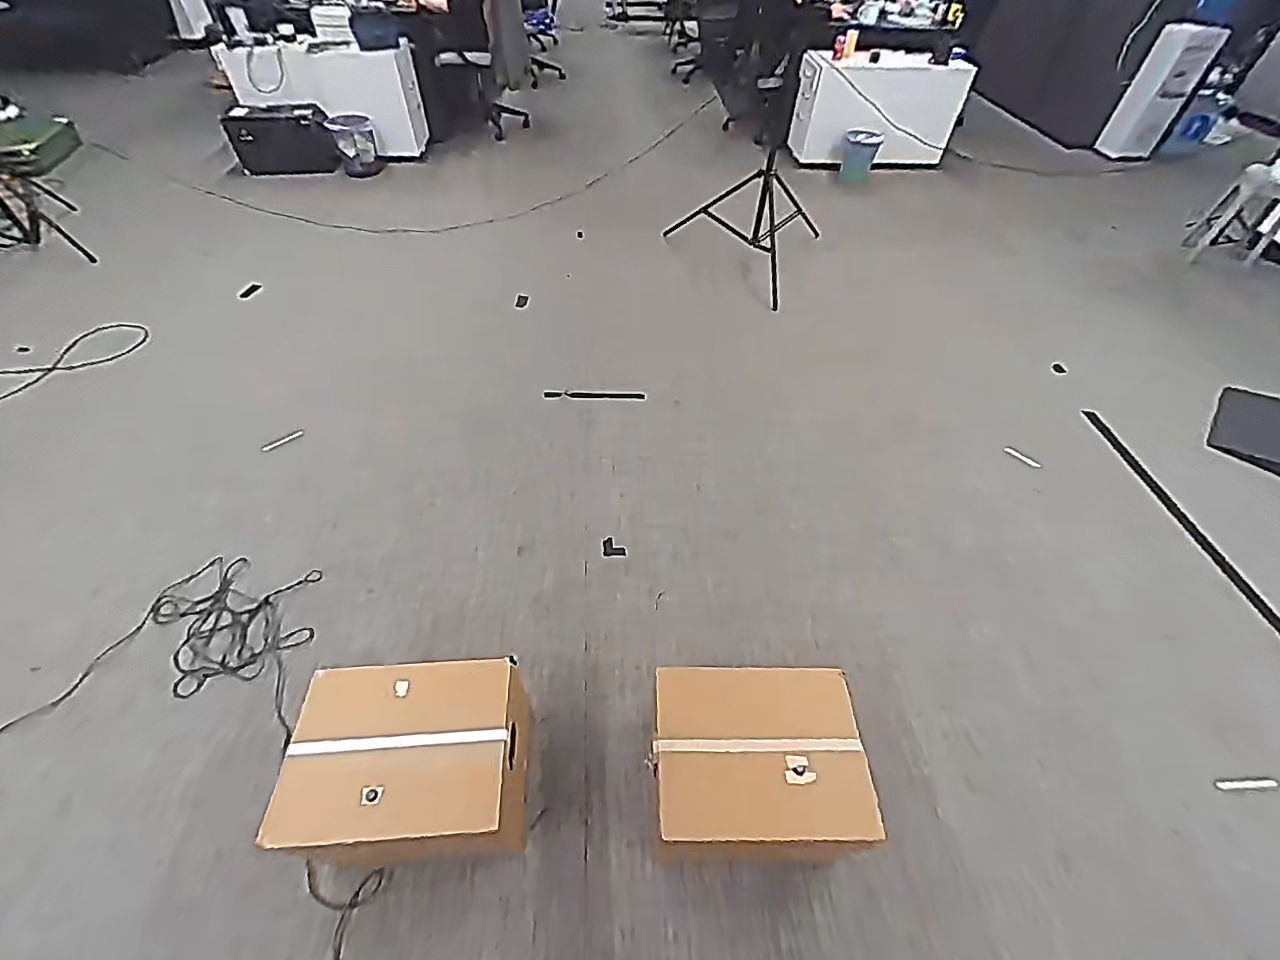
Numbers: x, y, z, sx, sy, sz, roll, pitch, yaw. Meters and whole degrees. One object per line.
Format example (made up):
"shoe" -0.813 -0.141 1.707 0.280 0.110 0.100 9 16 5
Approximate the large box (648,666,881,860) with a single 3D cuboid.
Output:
"large box" 0.230 0.616 1.176 0.408 0.320 0.320 2 49 -2
